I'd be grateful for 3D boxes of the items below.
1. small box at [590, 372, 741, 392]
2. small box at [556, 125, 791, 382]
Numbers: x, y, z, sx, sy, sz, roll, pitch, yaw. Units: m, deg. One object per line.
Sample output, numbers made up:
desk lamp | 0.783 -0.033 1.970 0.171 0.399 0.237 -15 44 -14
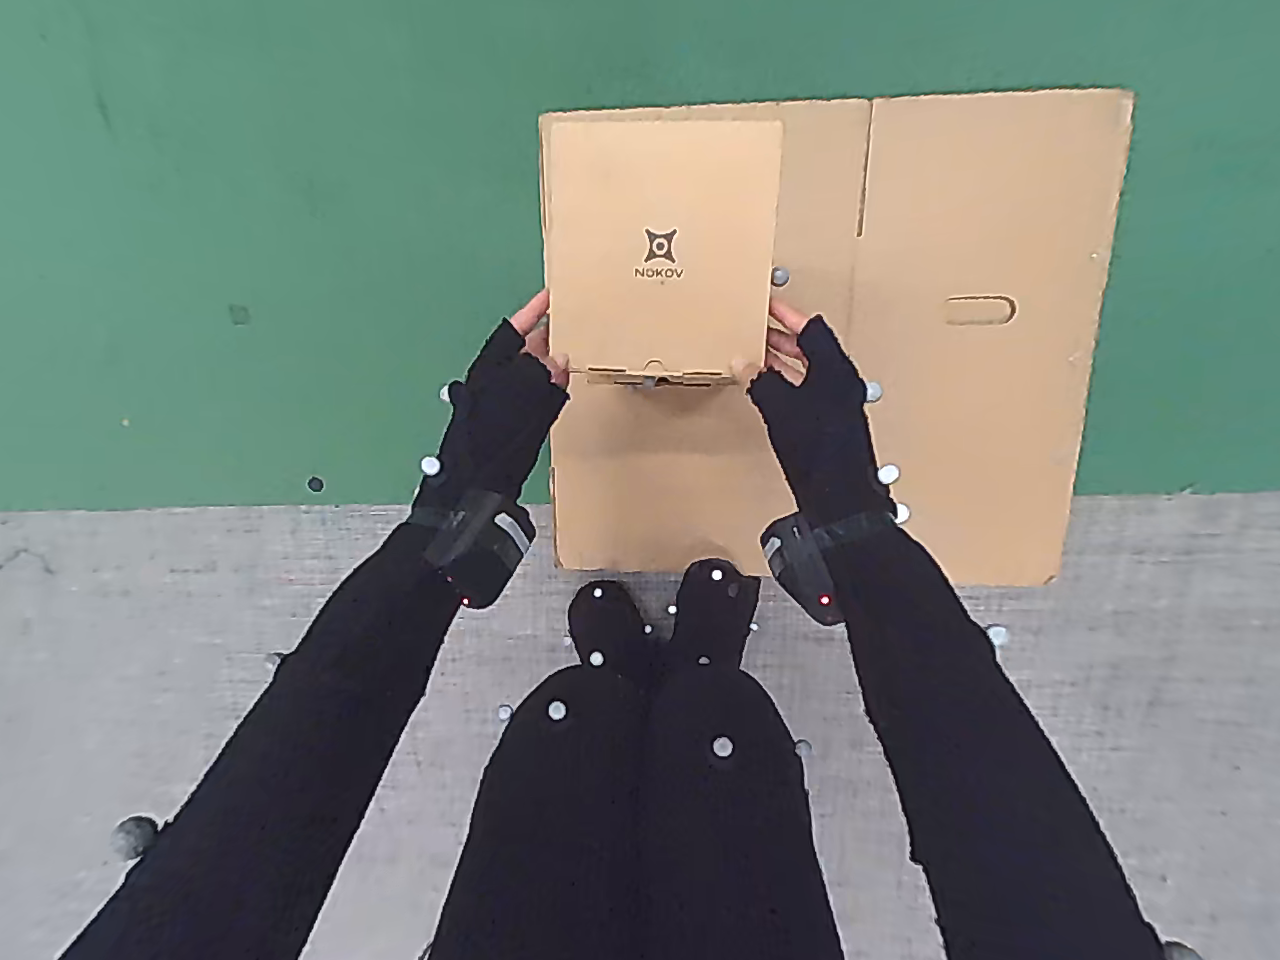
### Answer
small box | 0.039 -0.197 0.638 0.168 0.176 0.179 2 100 6
small box | 0.027 -0.179 0.476 0.168 0.176 0.179 4 102 5
